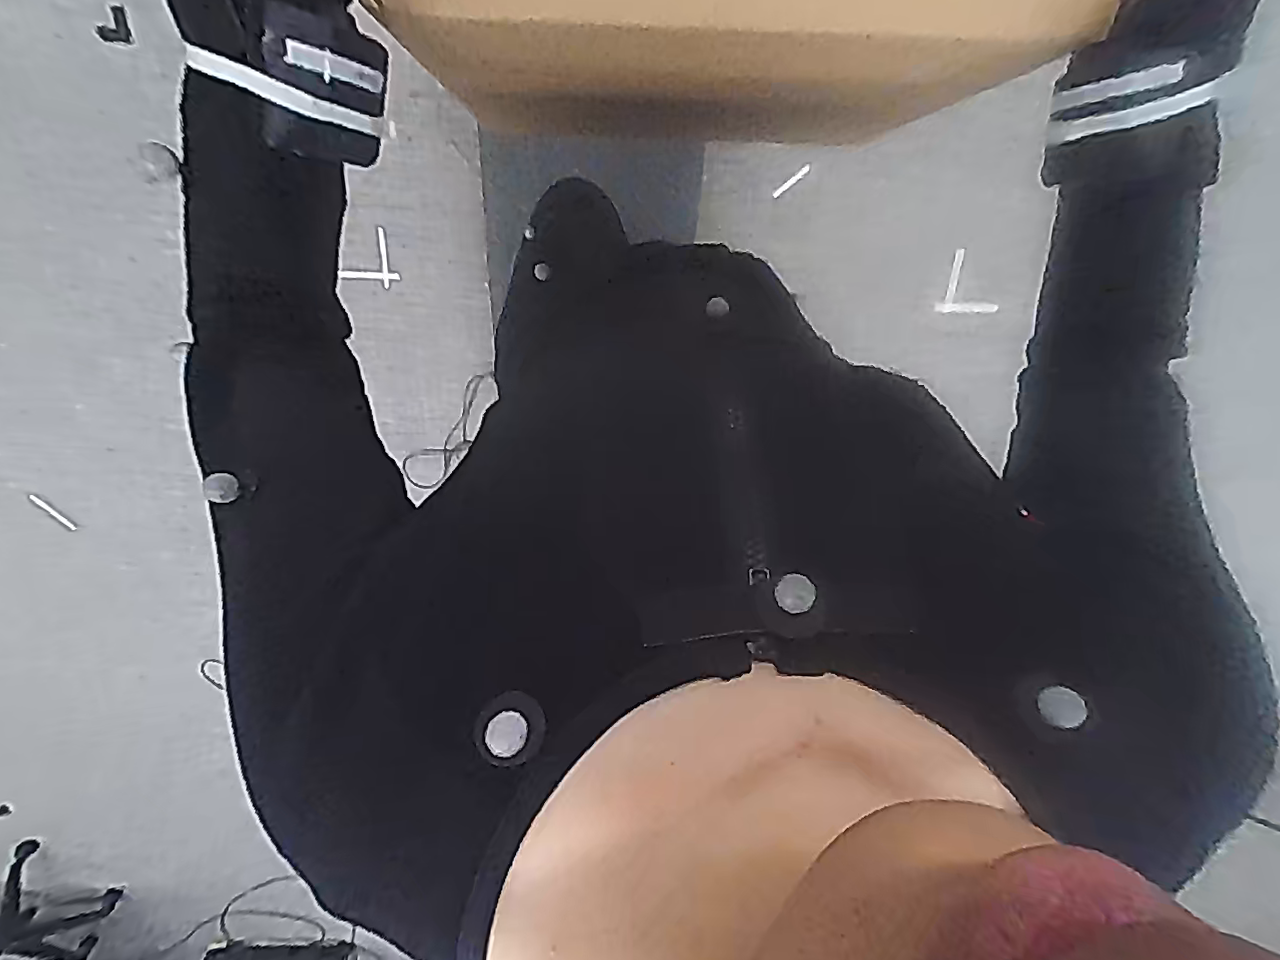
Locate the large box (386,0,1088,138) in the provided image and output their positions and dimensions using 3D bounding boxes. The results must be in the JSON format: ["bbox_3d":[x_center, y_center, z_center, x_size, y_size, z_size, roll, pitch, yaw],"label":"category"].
[{"bbox_3d":[0.048,-0.452,0.383,0.408,0.320,0.320,-1,113,-4],"label":"large box"}]
